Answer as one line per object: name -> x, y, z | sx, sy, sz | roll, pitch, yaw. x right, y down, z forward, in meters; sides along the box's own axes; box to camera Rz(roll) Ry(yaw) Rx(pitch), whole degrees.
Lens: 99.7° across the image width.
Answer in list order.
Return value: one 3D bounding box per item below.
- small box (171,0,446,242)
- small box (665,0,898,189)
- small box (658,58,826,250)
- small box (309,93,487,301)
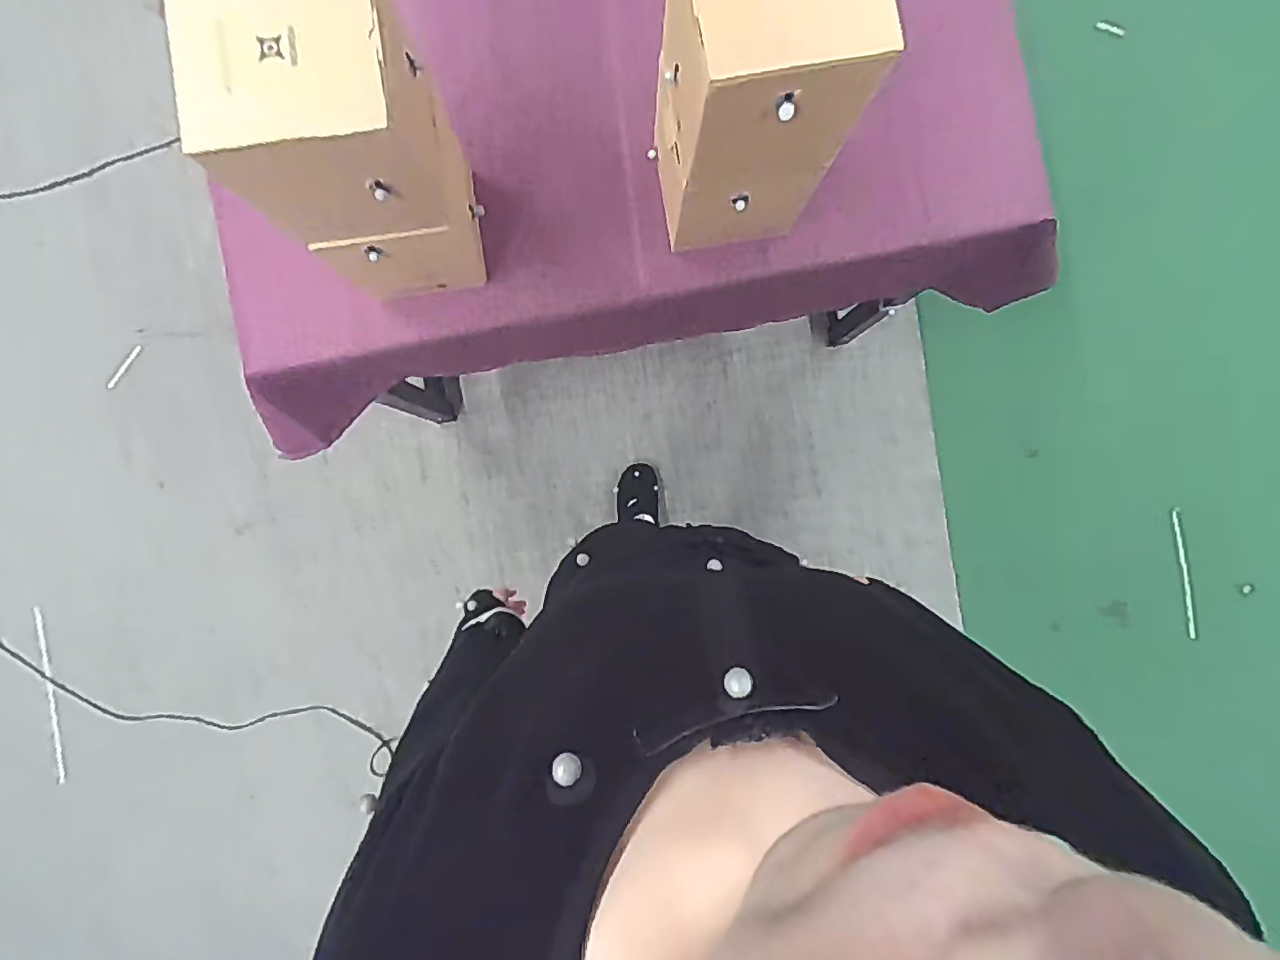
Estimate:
small box -> -0.307, -0.361, 0.540 | 0.179, 0.176, 0.168 | -7, 88, -1
small box -> 0.127, -0.429, 0.550 | 0.179, 0.176, 0.168 | -10, 89, 0
small box -> 0.120, -0.425, 0.713 | 0.179, 0.176, 0.168 | -9, 89, -2
small box -> -0.310, -0.356, 0.704 | 0.168, 0.176, 0.179 | -9, 88, -1
